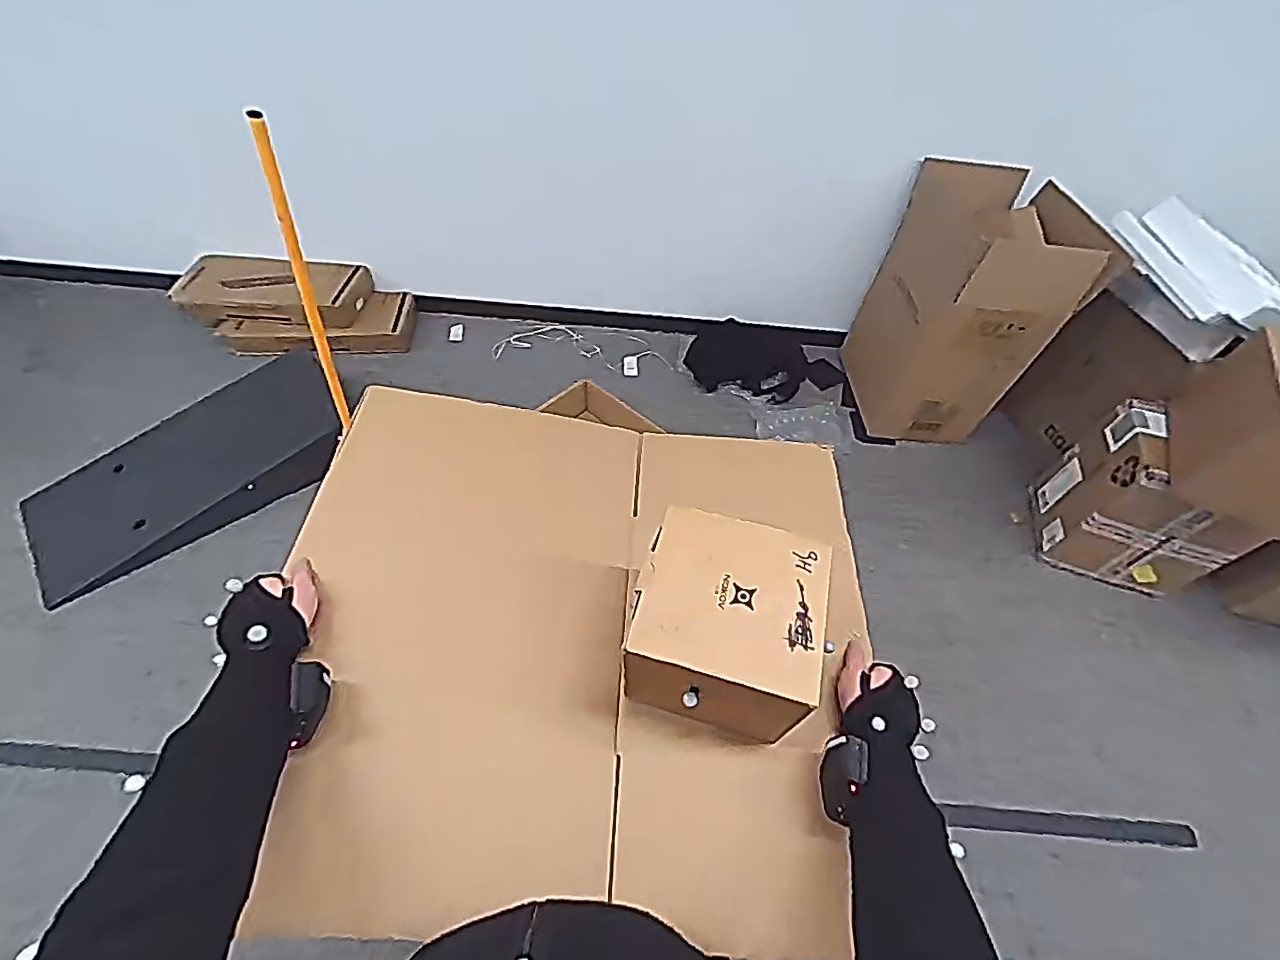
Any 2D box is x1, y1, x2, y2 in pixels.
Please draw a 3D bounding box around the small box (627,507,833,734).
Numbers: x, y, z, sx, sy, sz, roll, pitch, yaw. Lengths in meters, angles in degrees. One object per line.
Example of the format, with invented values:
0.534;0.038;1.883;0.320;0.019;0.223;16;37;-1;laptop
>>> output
0.093;0.157;0.588;0.179;0.176;0.168;13;55;9;small box
